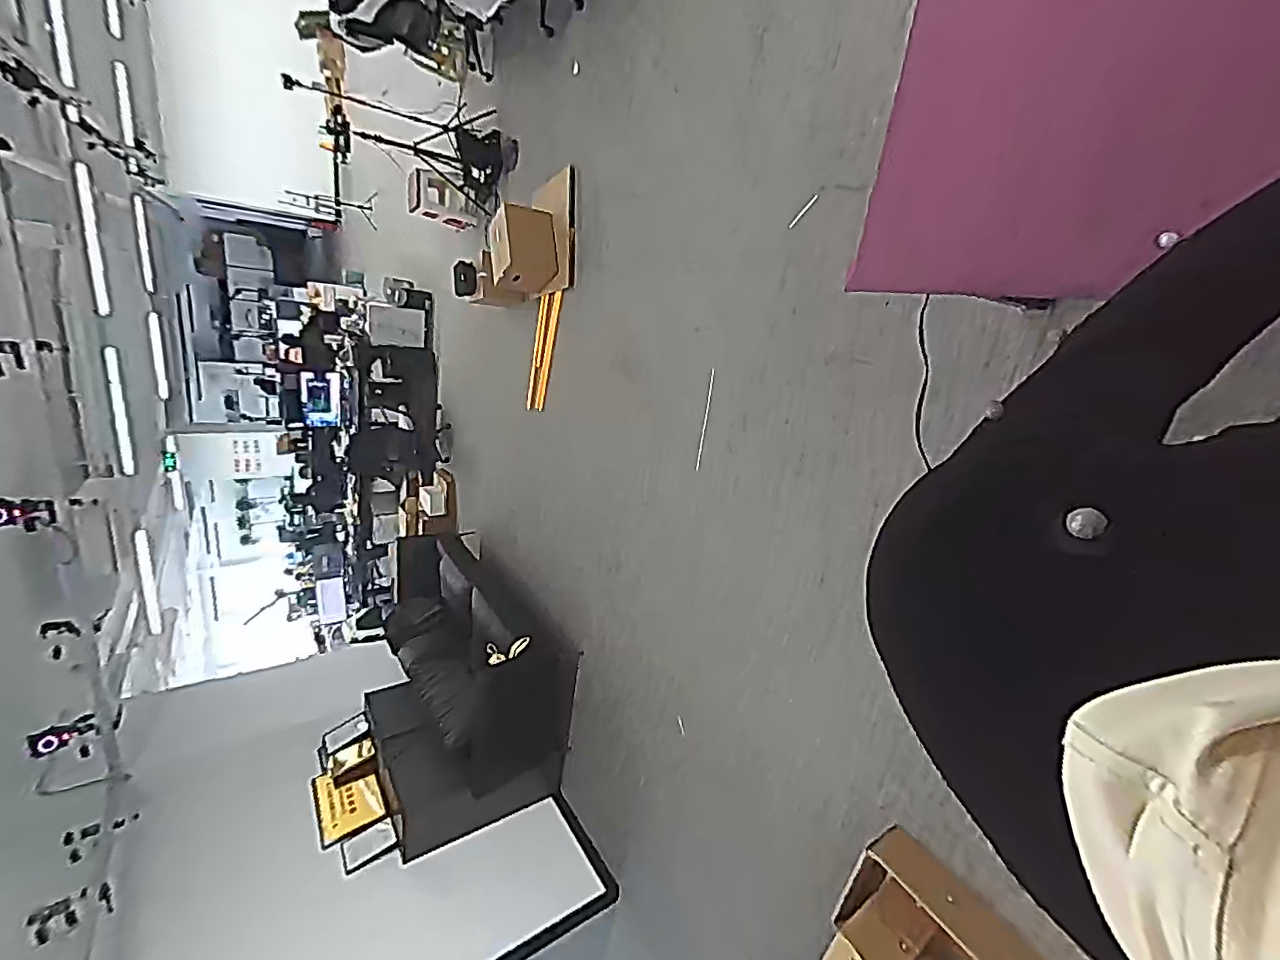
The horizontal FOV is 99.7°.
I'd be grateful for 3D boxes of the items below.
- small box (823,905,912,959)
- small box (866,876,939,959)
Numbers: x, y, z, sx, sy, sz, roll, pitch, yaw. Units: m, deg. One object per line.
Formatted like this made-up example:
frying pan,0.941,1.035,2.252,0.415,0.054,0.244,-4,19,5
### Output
small box,0.676,1.427,1.606,0.168,0.176,0.179,36,124,44
small box,0.808,1.414,1.704,0.168,0.176,0.179,34,121,45
